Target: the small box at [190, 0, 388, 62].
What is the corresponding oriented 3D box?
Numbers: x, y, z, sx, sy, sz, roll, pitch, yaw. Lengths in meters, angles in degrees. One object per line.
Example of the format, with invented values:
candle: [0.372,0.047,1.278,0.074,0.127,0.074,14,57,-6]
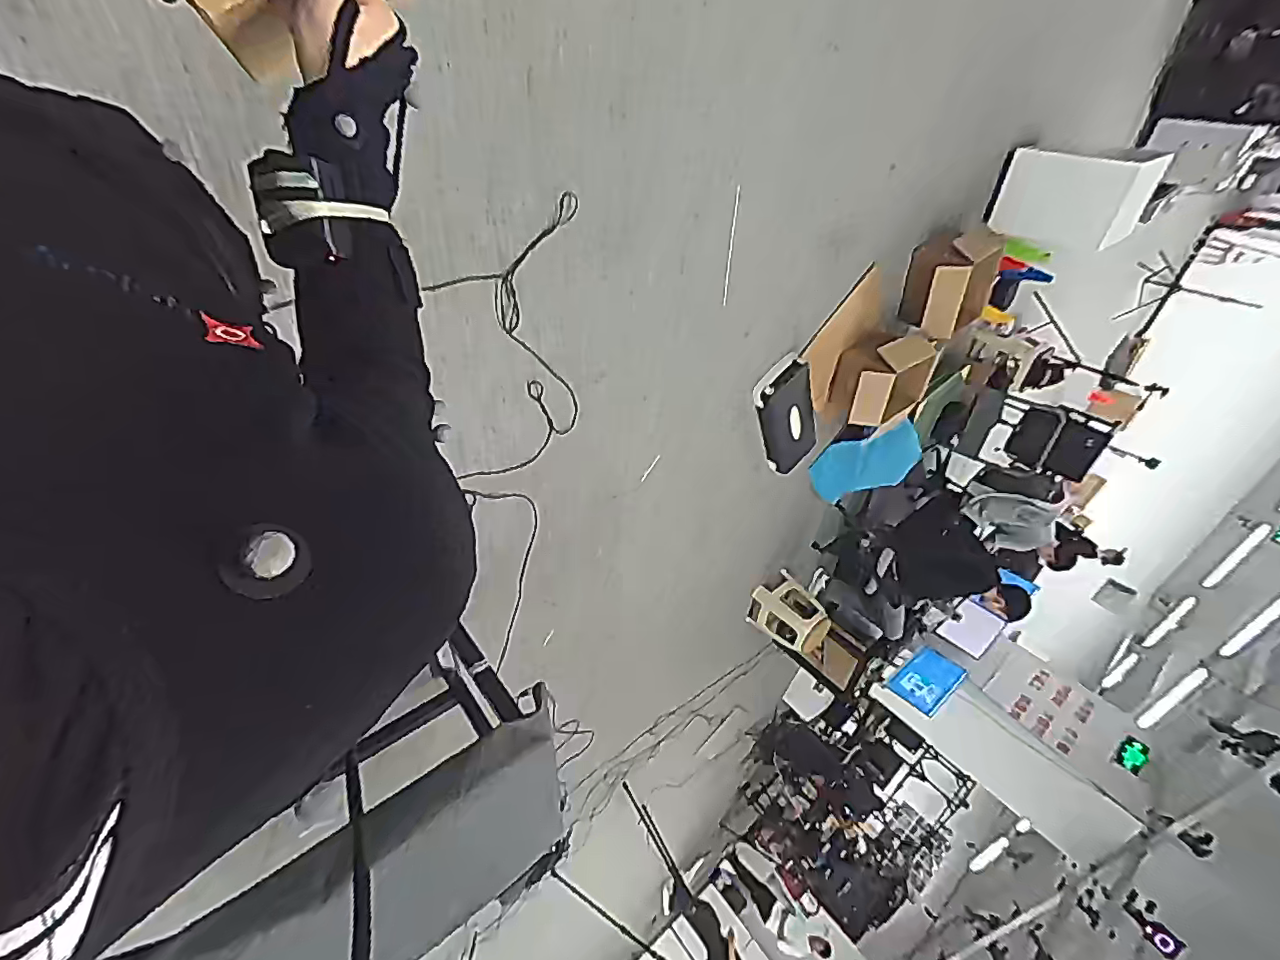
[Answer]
small box: [-0.264,-0.412,0.348,0.168,0.176,0.179,-38,122,-7]
